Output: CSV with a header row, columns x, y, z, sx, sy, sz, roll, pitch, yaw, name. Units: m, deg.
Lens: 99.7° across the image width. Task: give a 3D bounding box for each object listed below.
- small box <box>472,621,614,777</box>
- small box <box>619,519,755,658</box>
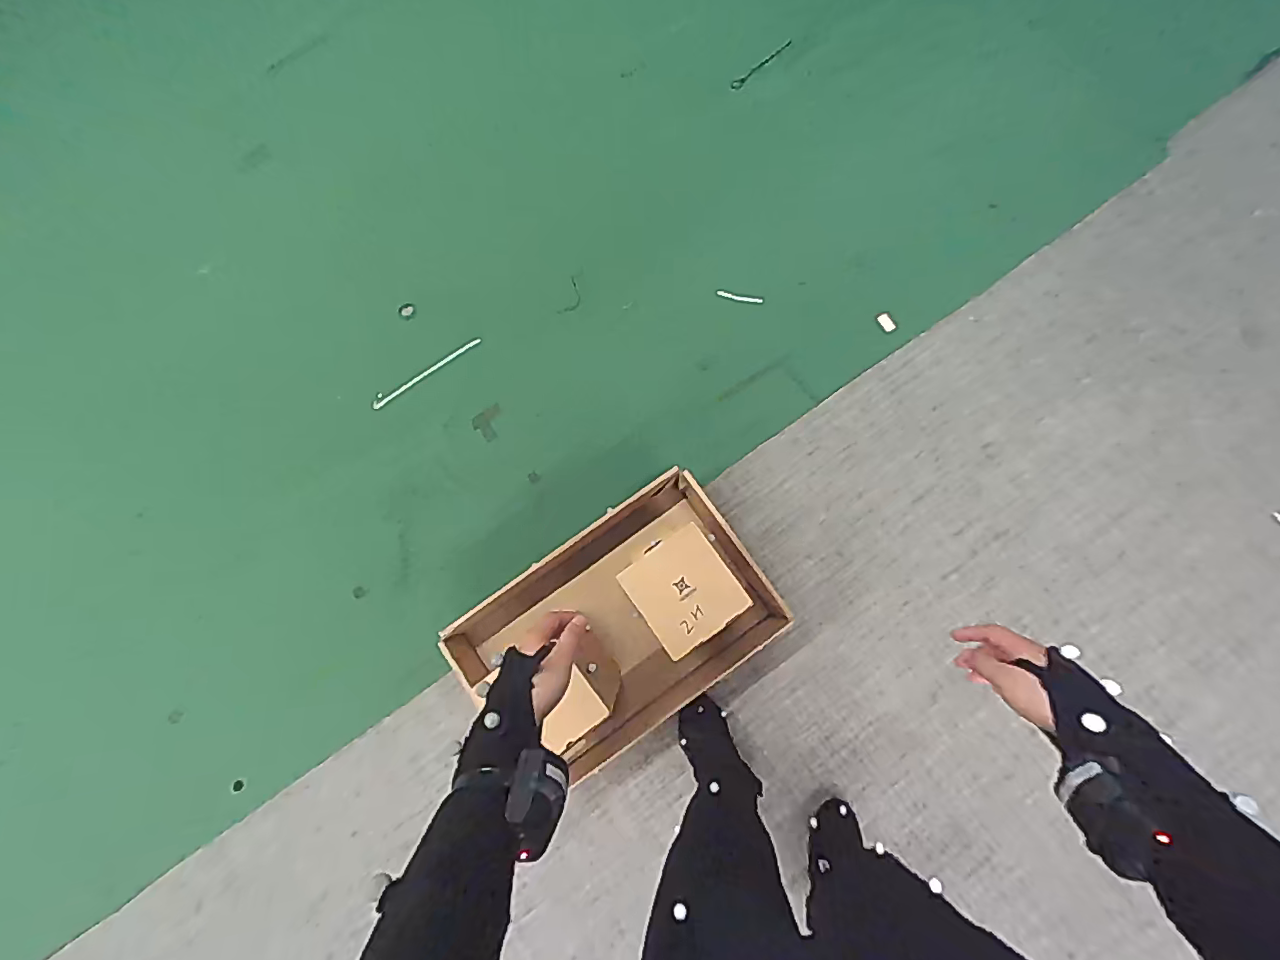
x,y,z,sx,sy,sz,roll,pitch,yaw,name
-0.159,0.371,0.954,0.168,0.176,0.179,-38,83,-5,small box
0.078,0.191,0.978,0.168,0.176,0.179,-36,83,-3,small box
